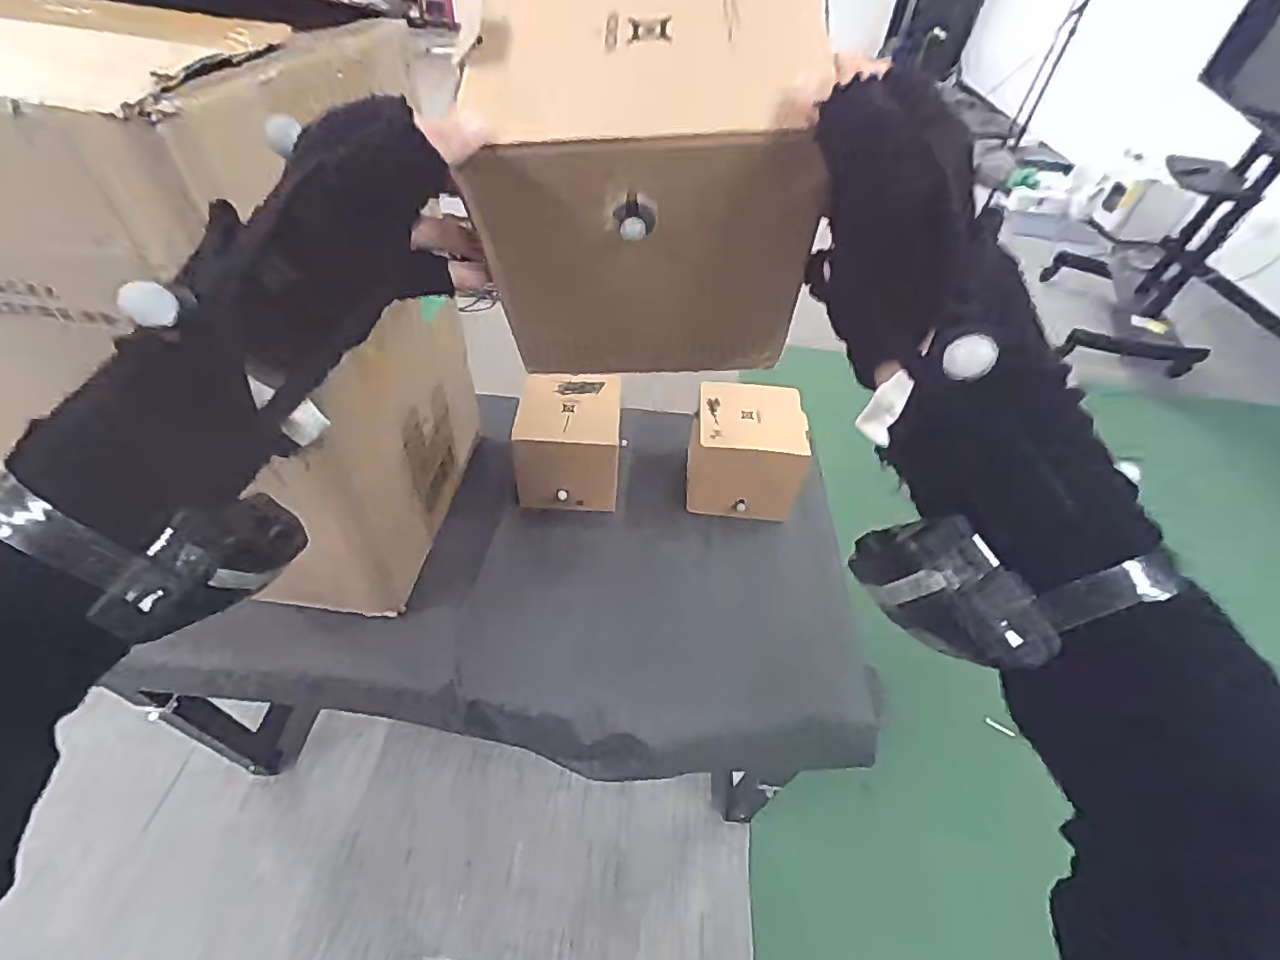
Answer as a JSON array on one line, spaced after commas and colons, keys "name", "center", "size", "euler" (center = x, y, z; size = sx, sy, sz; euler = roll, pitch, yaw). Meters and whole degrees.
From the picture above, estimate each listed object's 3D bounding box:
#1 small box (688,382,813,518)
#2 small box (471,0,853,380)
[{"name": "small box", "center": [0.185, -0.049, 0.957], "size": [0.179, 0.176, 0.168], "euler": [6, 48, 0]}, {"name": "small box", "center": [0.014, -0.178, 0.347], "size": [0.179, 0.176, 0.168], "euler": [0, 65, 2]}]
